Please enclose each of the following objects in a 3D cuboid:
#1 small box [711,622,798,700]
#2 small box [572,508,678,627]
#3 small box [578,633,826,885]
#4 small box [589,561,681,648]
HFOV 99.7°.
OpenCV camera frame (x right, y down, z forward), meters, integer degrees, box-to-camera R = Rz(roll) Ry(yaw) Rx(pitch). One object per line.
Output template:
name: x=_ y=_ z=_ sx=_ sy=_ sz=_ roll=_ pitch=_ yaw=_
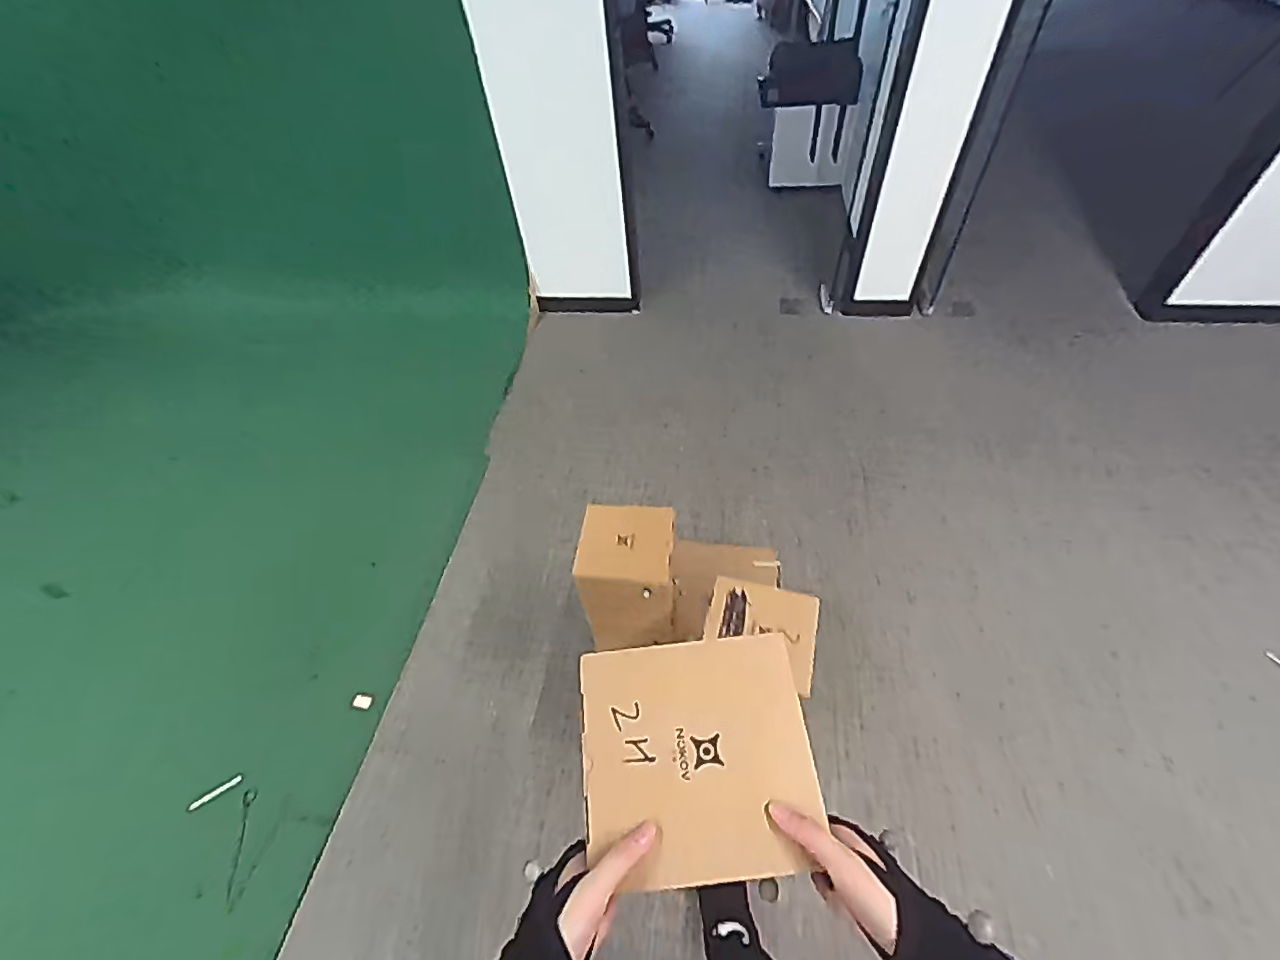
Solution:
small box: x=0.207 y=0.404 z=1.051 sx=0.168 sy=0.176 sz=0.179 roll=7 pitch=50 yaw=11
small box: x=-0.021 y=0.173 z=1.060 sx=0.179 sy=0.176 sz=0.168 roll=3 pitch=48 yaw=7
small box: x=0.043 y=0.247 z=0.486 sx=0.179 sy=0.176 sz=0.168 roll=-6 pitch=58 yaw=0
small box: x=-0.002 y=0.283 z=1.179 sx=0.179 sy=0.176 sz=0.168 roll=1 pitch=48 yaw=8
